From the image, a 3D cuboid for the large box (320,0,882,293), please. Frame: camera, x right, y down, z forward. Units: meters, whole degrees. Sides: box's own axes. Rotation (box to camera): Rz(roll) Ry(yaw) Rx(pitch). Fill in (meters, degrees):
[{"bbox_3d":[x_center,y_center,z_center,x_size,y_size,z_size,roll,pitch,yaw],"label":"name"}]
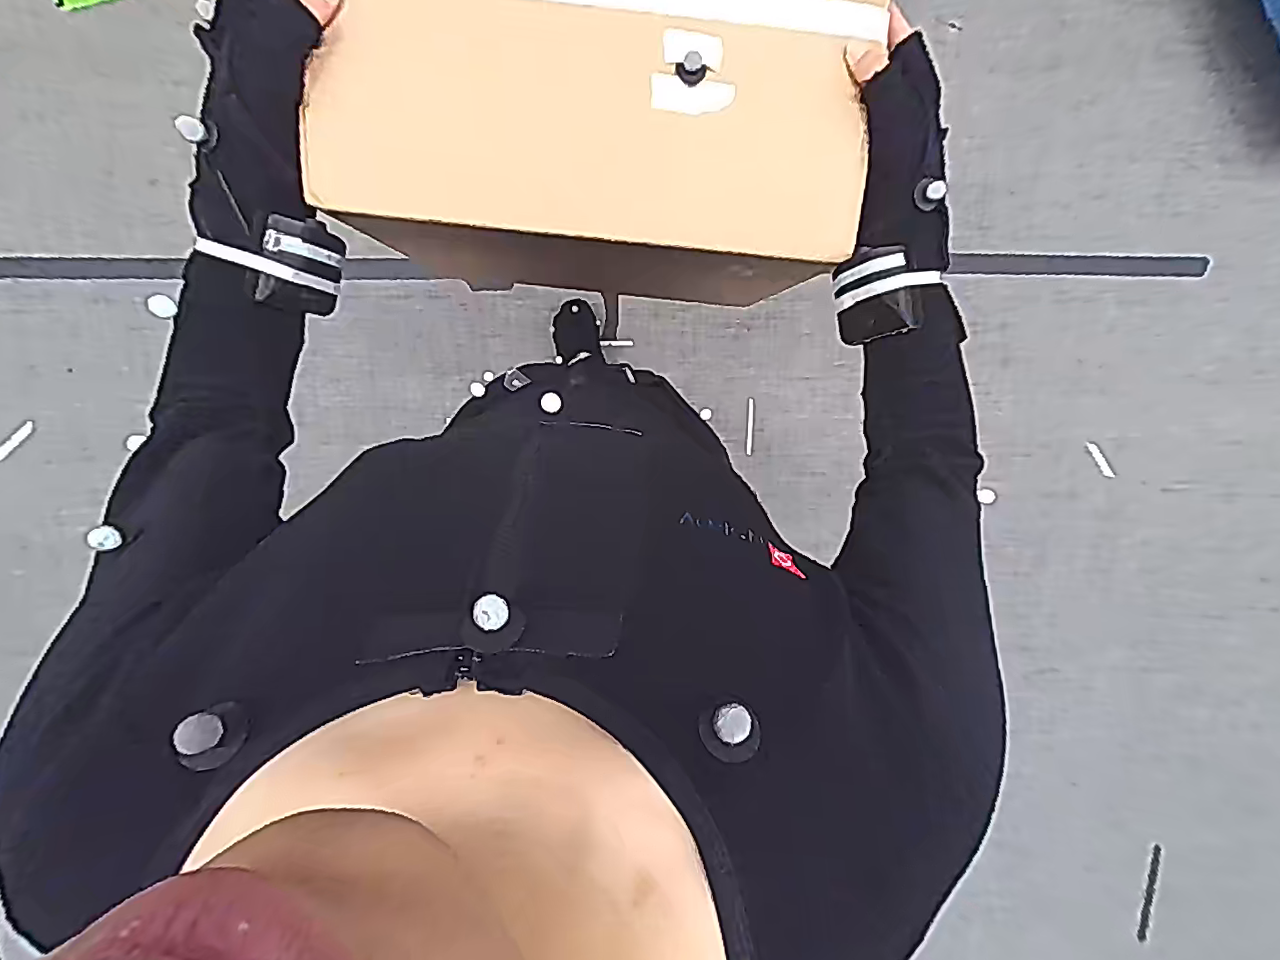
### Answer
[{"bbox_3d":[-0.032,-0.378,0.528,0.408,0.320,0.320,4,102,-4],"label":"large box"}]
